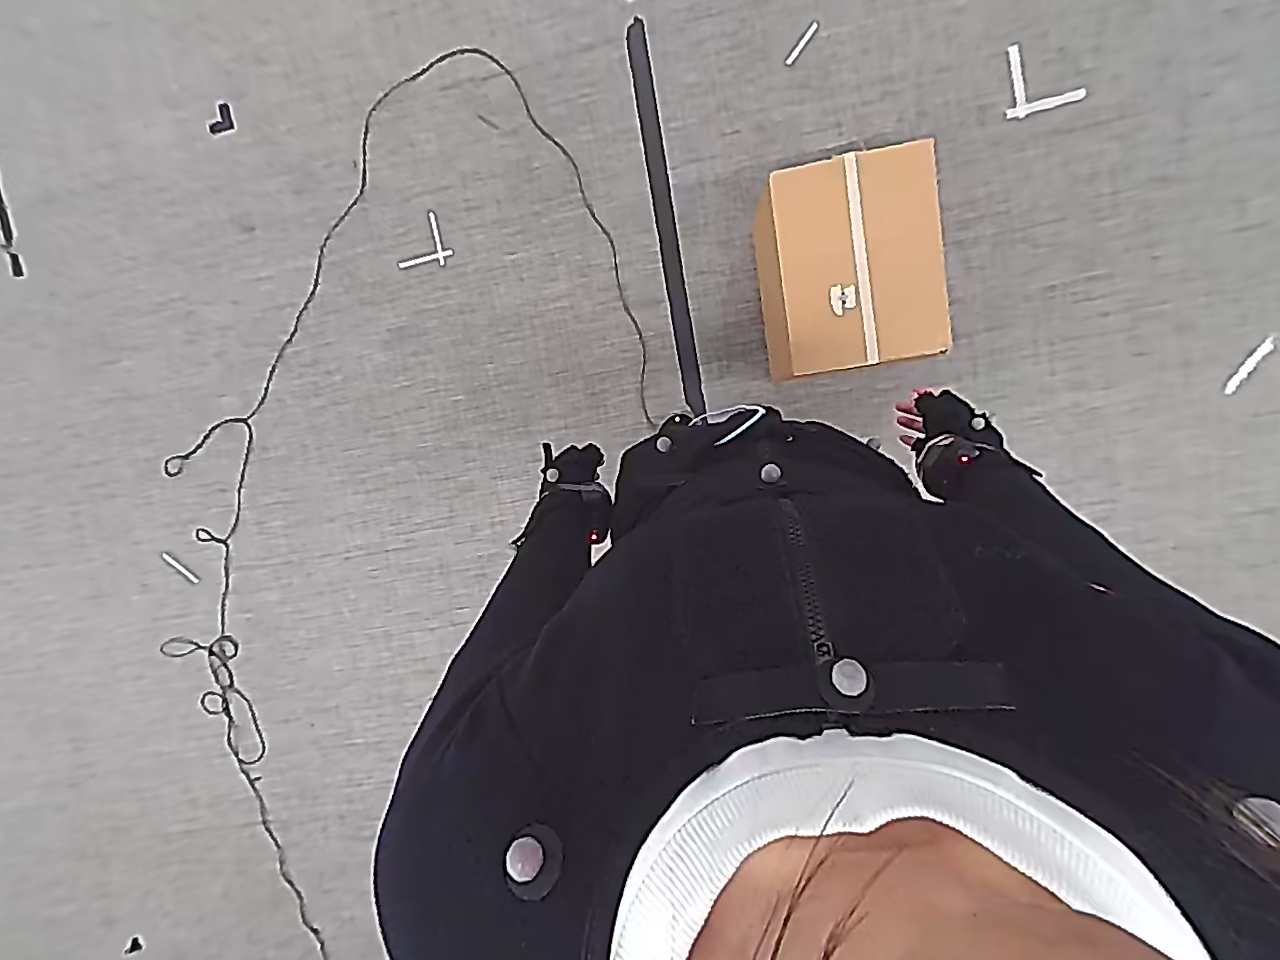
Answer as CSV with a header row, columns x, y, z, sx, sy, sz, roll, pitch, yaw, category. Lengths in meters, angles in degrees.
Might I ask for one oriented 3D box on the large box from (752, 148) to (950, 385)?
x,y,z,sx,sy,sz,roll,pitch,yaw,category
0.452,-0.445,1.225,0.320,0.320,0.408,-9,97,7,large box
